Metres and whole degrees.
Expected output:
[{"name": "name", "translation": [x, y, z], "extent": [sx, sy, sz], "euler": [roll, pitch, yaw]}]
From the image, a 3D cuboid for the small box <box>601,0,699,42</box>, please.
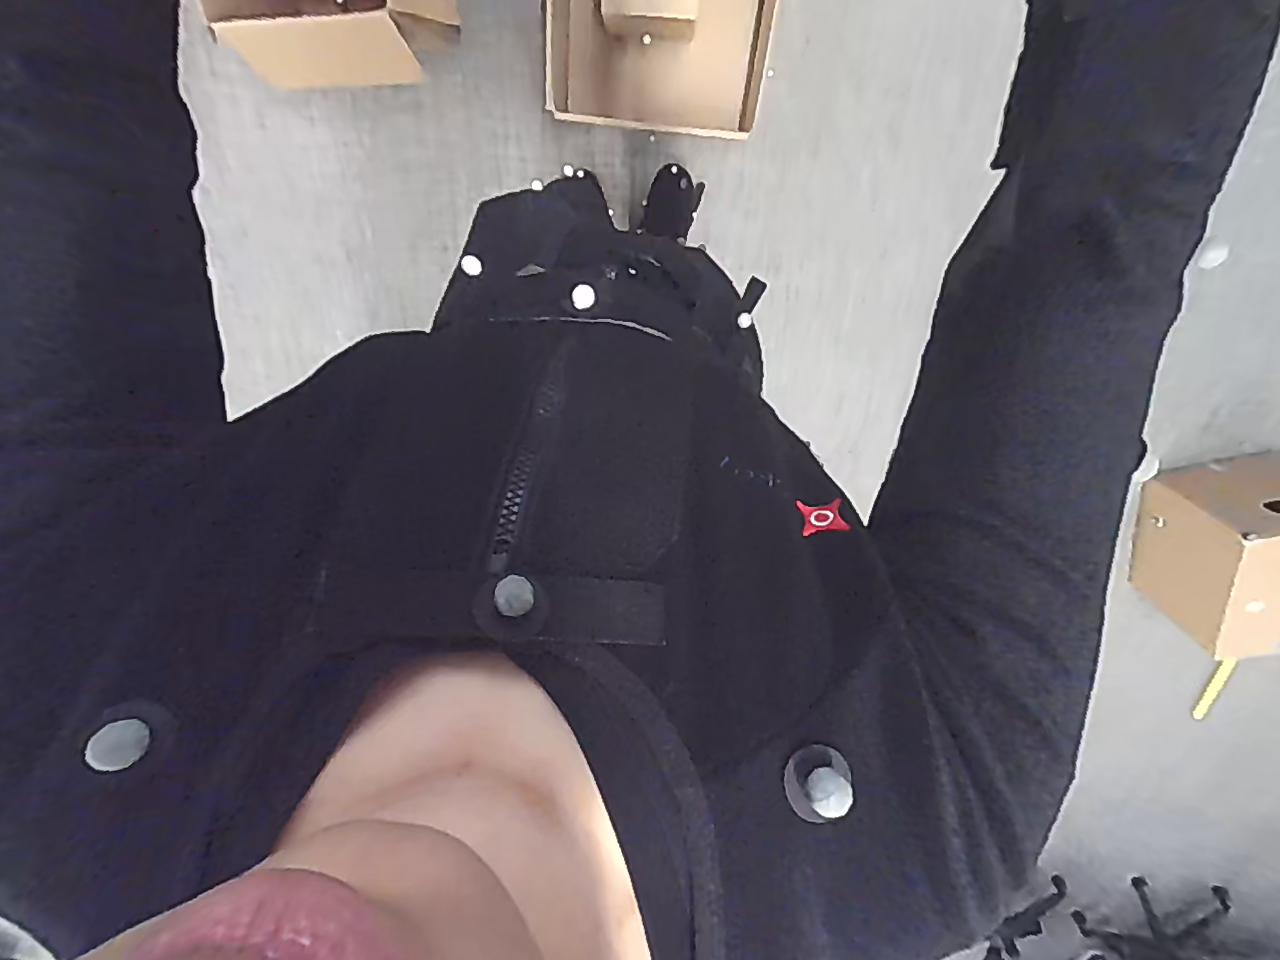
[{"name": "small box", "translation": [0.024, -0.894, 0.935], "extent": [0.168, 0.176, 0.179], "euler": [5, 119, 0]}]
